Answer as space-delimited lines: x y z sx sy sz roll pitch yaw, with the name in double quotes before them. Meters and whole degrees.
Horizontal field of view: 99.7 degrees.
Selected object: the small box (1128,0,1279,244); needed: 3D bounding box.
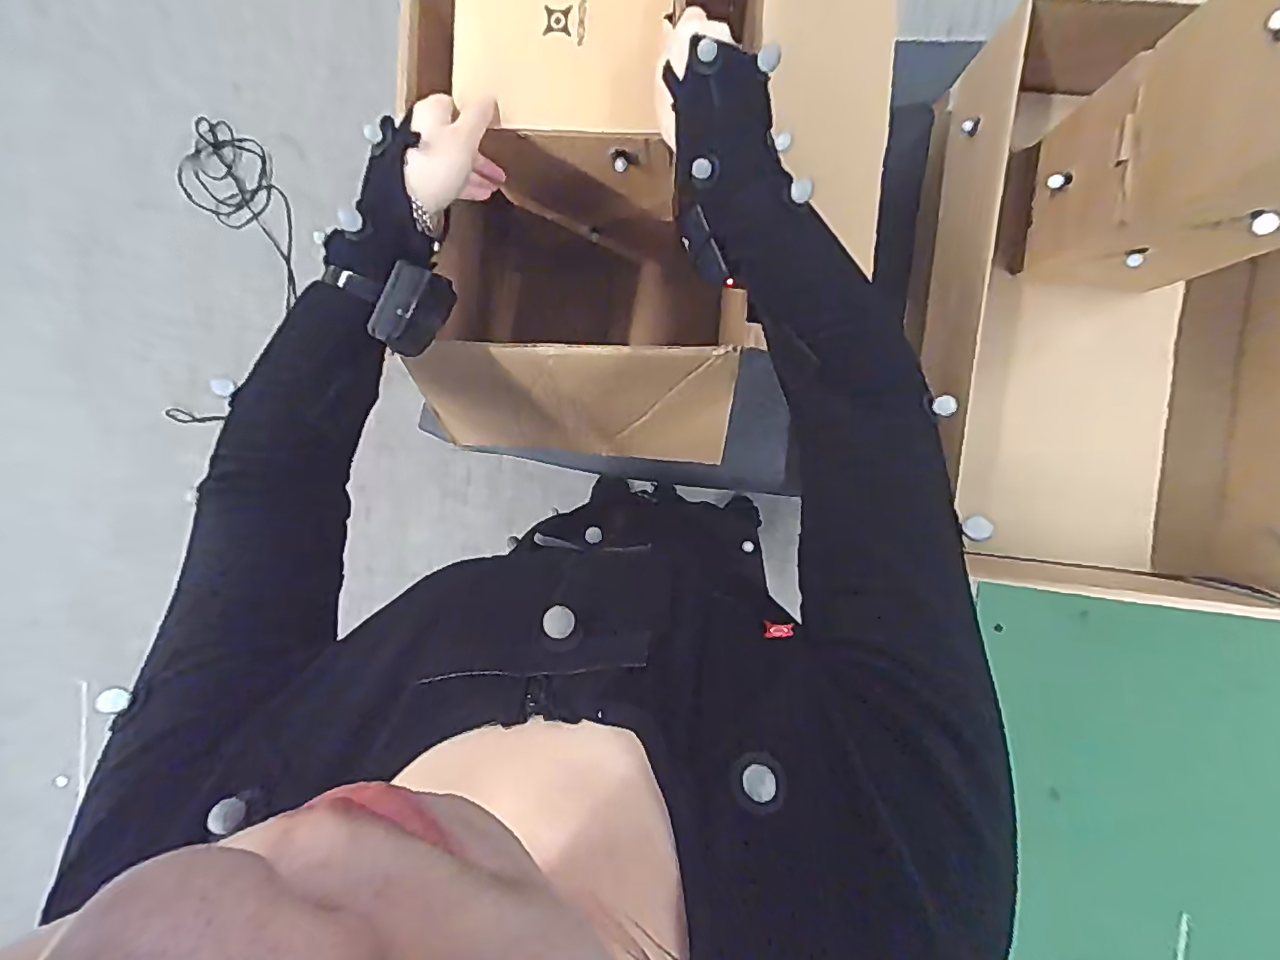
"small box" 0.552 -0.316 0.436 0.168 0.176 0.179 6 94 3
